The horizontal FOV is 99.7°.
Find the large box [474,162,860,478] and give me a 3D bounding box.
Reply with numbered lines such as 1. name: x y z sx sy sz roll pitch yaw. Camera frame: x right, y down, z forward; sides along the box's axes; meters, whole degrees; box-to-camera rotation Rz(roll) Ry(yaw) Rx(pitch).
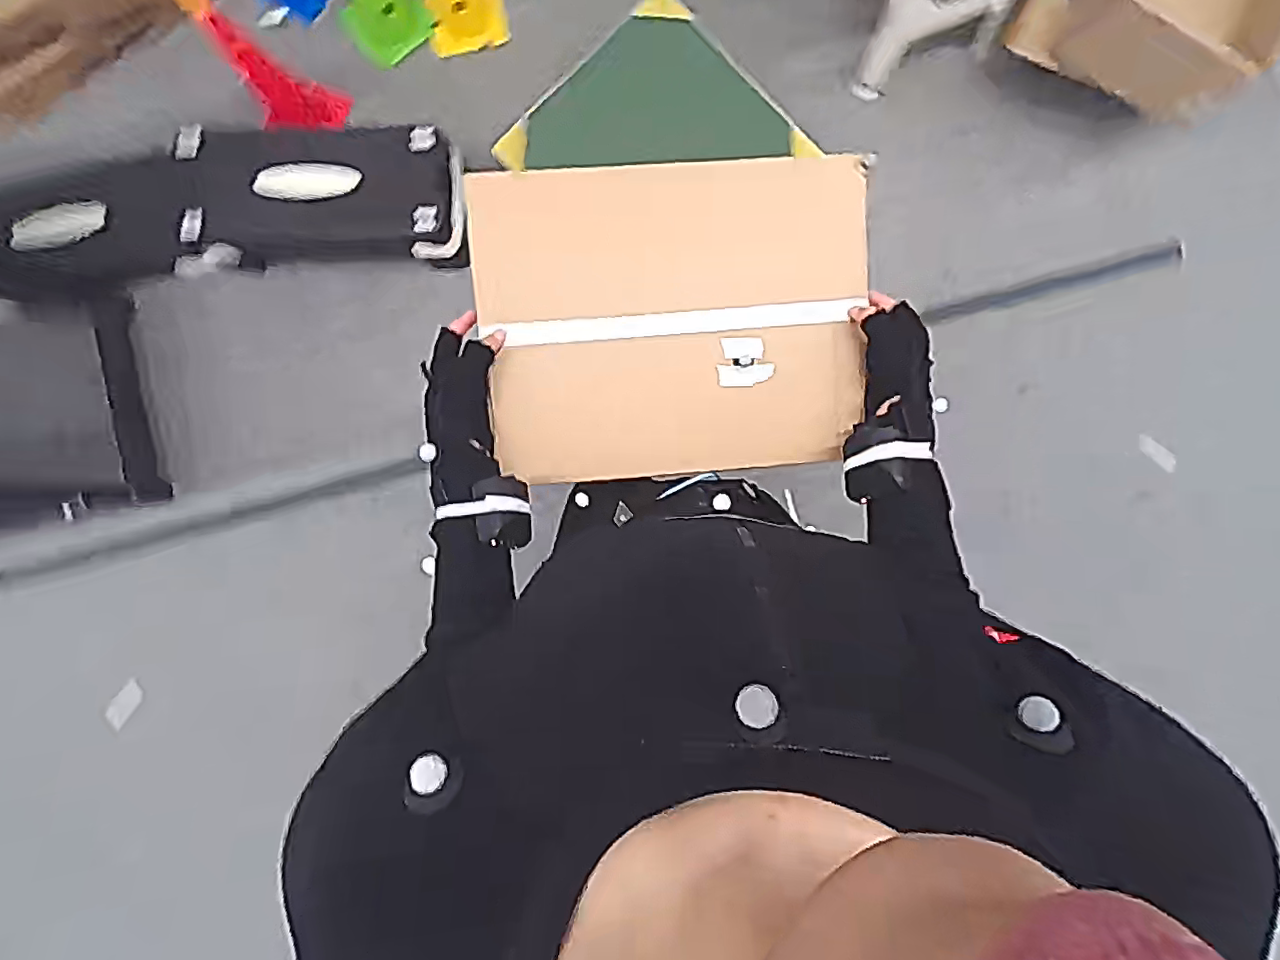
1. large box: 0.028 -0.184 0.723 0.408 0.320 0.320 -4 97 -3
